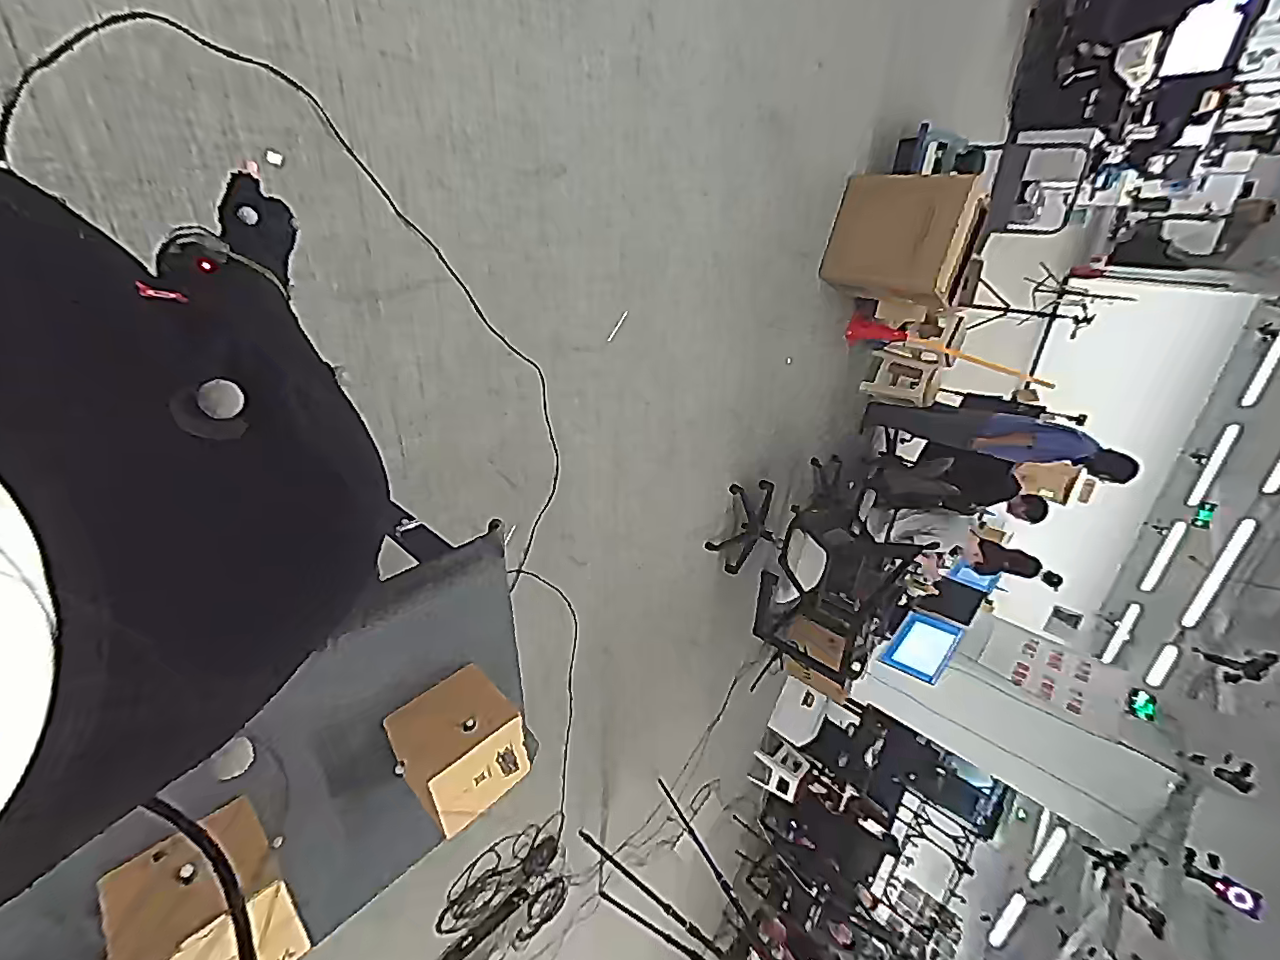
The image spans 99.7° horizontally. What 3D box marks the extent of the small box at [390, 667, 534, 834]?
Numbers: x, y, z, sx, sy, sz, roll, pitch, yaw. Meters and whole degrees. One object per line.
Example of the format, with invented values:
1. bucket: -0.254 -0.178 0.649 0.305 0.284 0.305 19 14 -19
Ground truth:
1. small box: -0.320 0.478 0.984 0.179 0.176 0.168 -28 128 -38

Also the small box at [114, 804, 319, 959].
1. small box: -0.575 0.588 0.739 0.168 0.176 0.179 -24 125 -42
